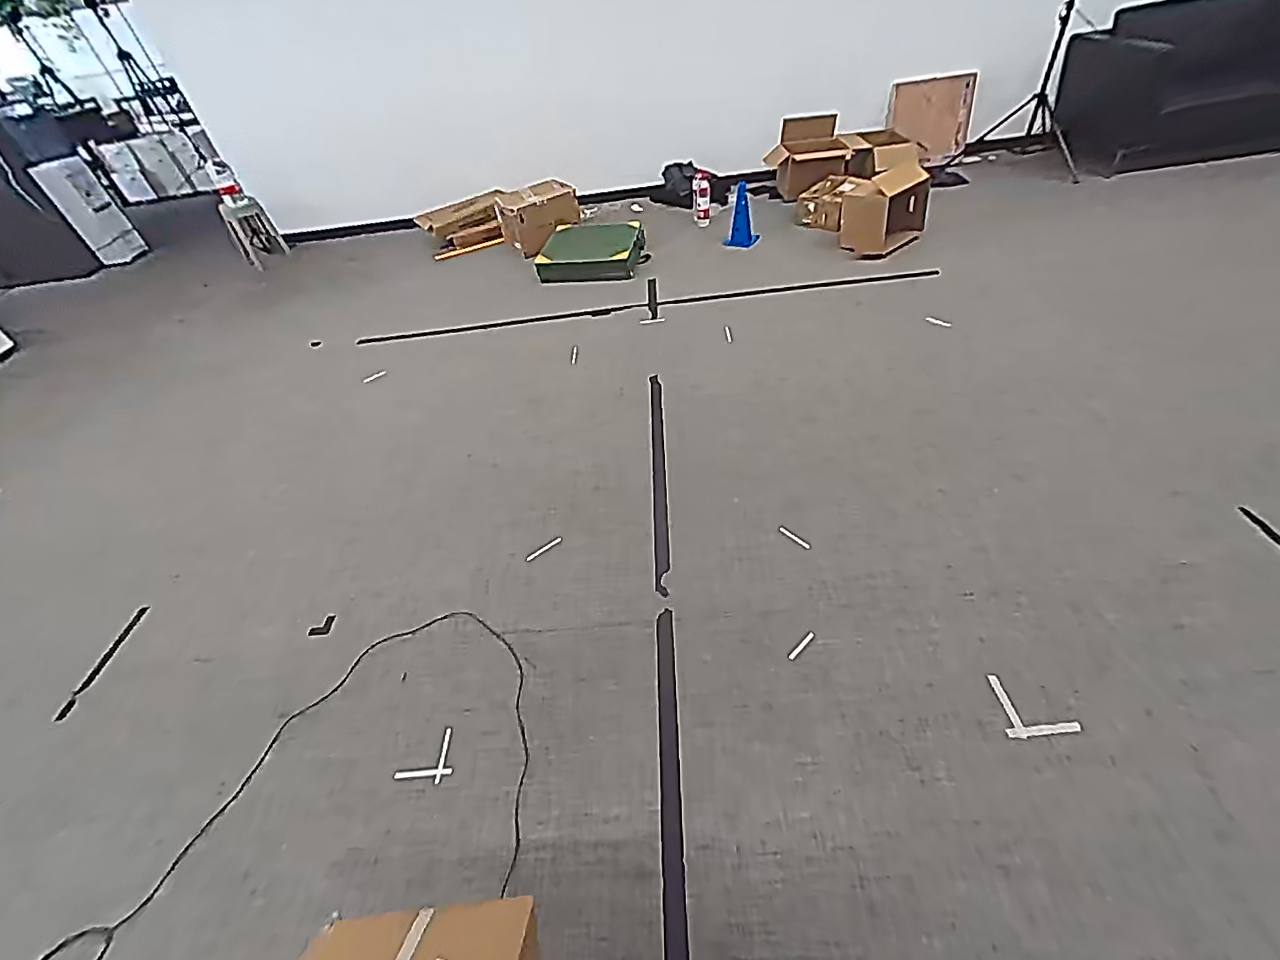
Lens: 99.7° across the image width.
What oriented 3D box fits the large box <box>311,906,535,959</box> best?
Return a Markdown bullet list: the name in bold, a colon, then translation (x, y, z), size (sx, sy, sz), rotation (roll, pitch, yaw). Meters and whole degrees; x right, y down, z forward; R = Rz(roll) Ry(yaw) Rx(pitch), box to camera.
- **large box**: translation (-0.293, 0.794, 0.601), size (0.320, 0.408, 0.320), rotation (-7, 87, 0)
